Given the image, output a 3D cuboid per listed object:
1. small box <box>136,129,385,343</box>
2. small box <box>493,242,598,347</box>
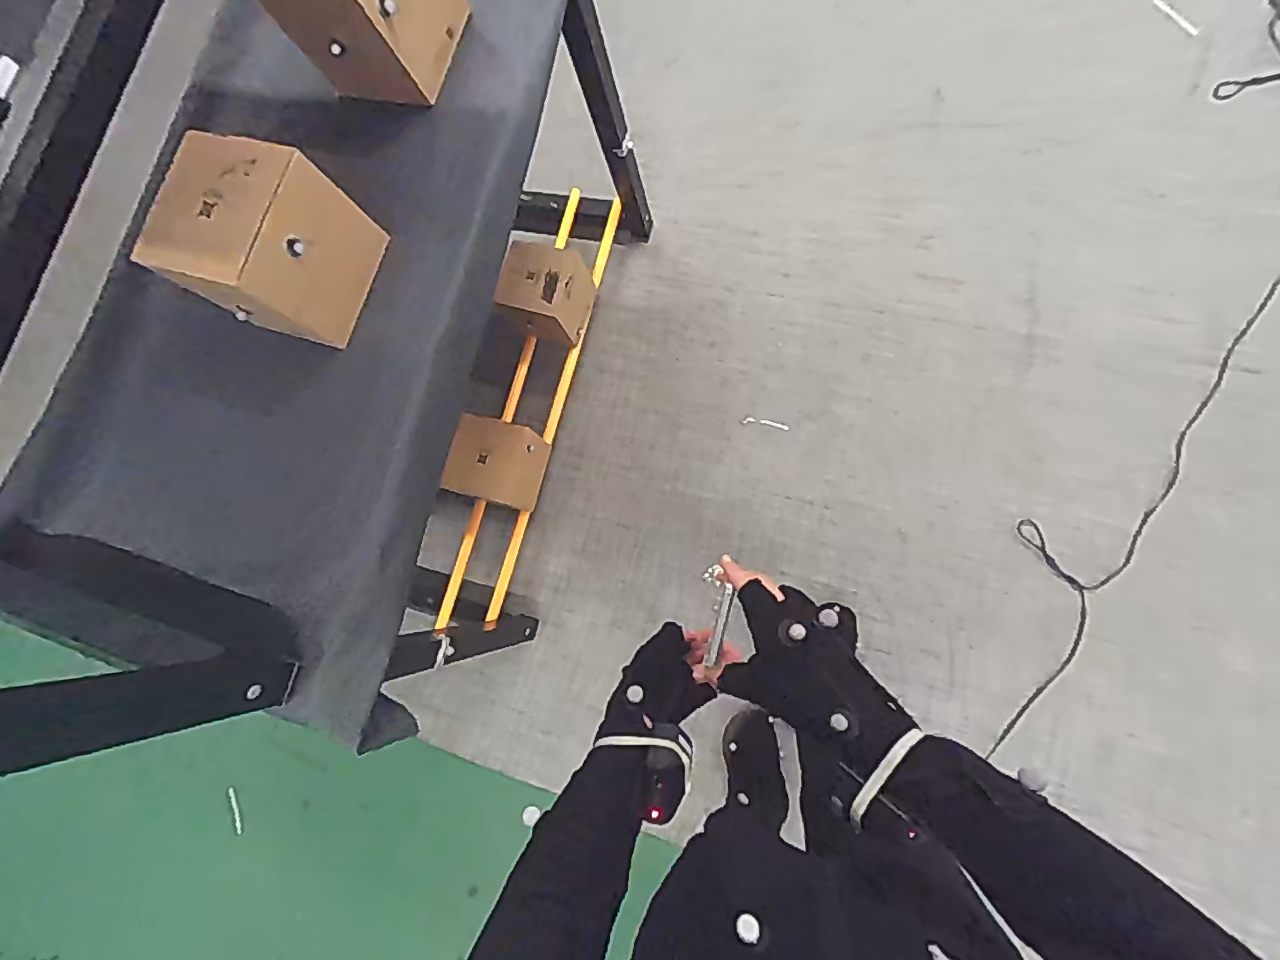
[{"bbox_3d":[-0.463,-0.297,0.687,0.168,0.176,0.179,17,83,14],"label":"small box"},{"bbox_3d":[-0.220,-0.443,1.313,0.179,0.176,0.168,17,83,14],"label":"small box"}]
